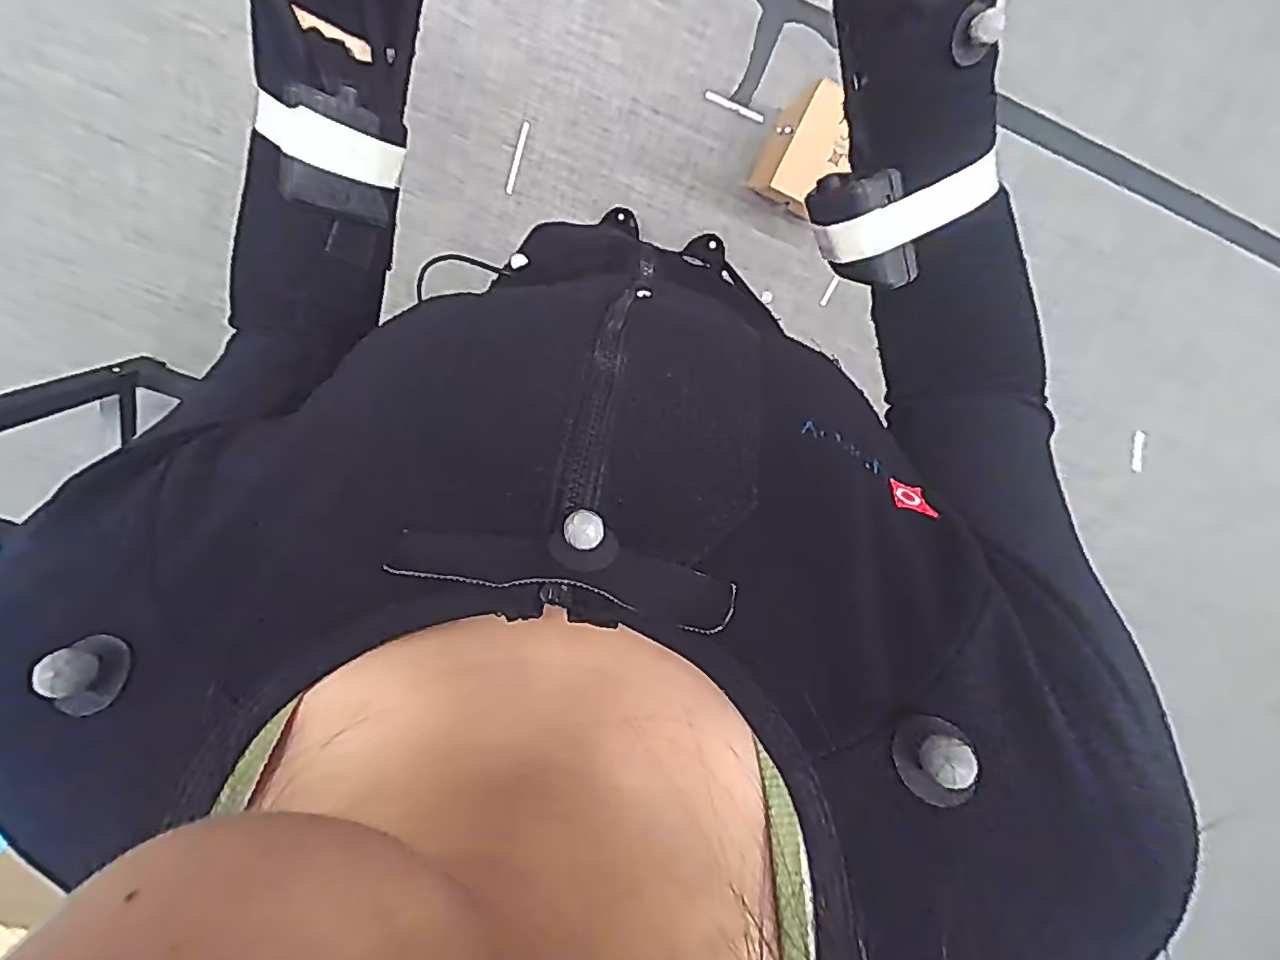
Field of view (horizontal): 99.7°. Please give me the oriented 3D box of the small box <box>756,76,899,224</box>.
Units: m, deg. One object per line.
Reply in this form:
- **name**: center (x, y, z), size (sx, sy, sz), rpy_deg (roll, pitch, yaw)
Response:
- **small box**: center (0.335, -0.606, 1.013), size (0.168, 0.176, 0.179), rpy_deg (23, 116, -9)

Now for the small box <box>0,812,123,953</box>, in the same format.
- **small box**: center (-1.237, 0.837, 1.121), size (0.179, 0.176, 0.168), rpy_deg (24, 114, -11)

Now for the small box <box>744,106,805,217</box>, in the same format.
- **small box**: center (0.348, -0.679, 1.158), size (0.179, 0.176, 0.168), rpy_deg (23, 114, -12)
